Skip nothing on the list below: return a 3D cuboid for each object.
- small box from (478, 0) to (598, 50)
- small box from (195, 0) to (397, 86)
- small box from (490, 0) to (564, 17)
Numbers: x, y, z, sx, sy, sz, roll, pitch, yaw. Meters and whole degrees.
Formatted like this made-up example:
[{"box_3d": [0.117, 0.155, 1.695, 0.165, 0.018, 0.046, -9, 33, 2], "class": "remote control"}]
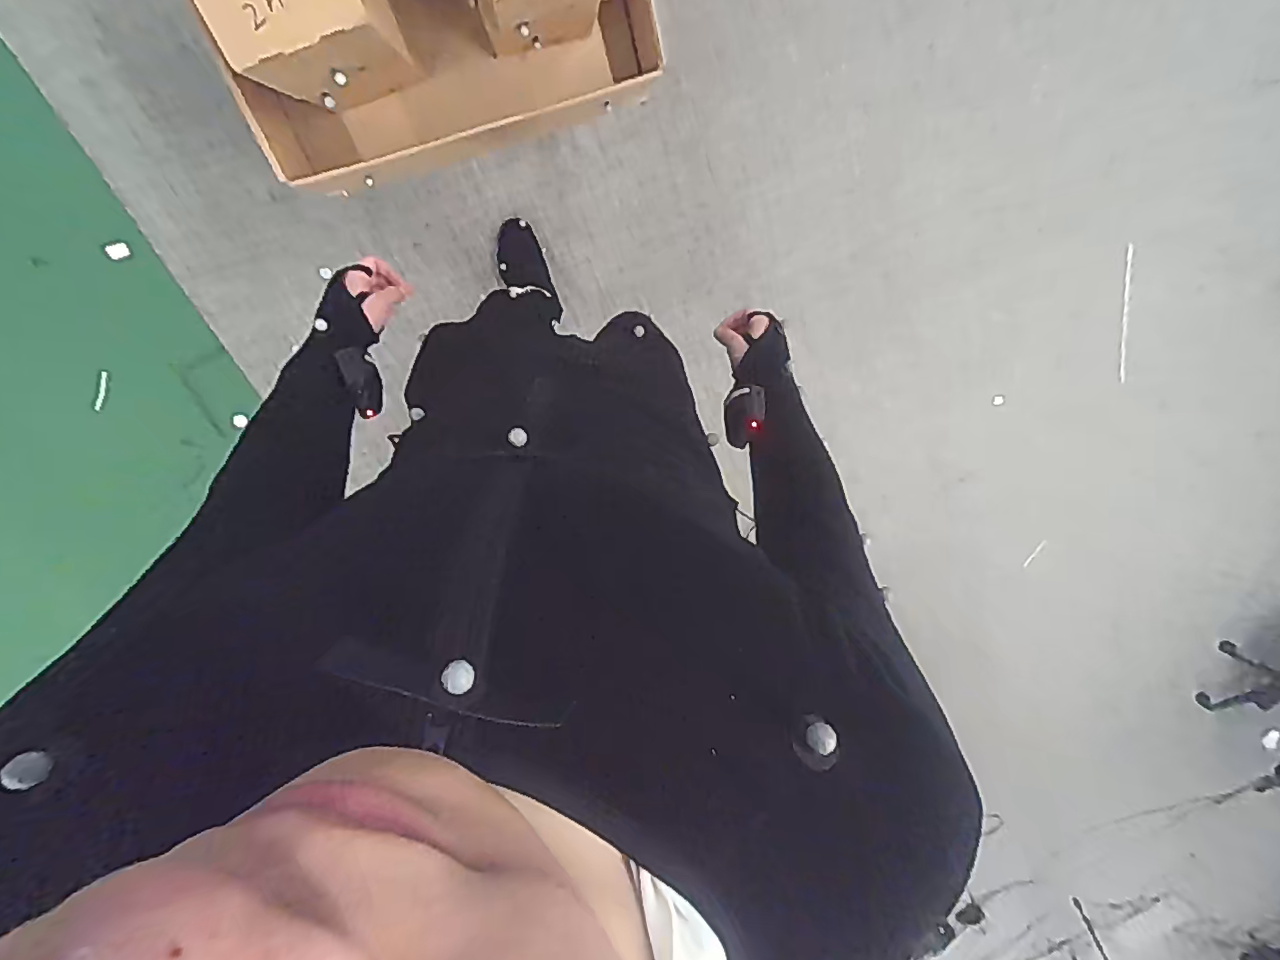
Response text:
[{"box_3d": [-0.165, -0.760, 0.774, 0.168, 0.176, 0.179, -16, 119, -2], "class": "small box"}, {"box_3d": [-0.413, -0.595, 0.624, 0.168, 0.176, 0.179, -19, 118, 0], "class": "small box"}, {"box_3d": [-0.130, -0.683, 0.632, 0.168, 0.176, 0.179, -20, 118, 0], "class": "small box"}]
